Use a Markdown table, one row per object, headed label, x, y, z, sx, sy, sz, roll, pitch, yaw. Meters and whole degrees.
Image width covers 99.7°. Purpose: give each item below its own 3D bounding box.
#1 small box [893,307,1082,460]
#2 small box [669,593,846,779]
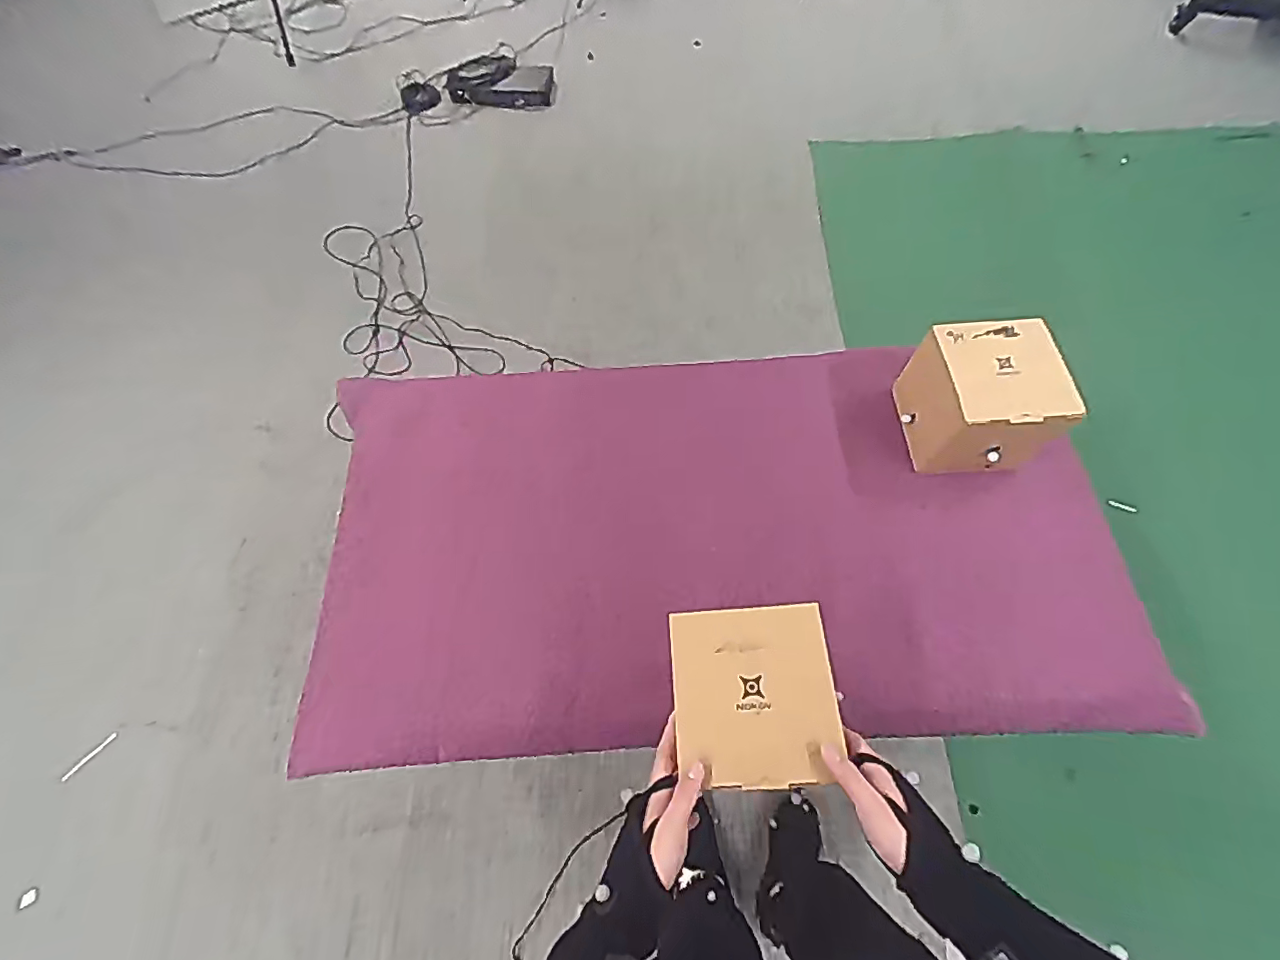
| label | x | y | z | sx | sy | sz | roll | pitch | yaw |
| --- | --- | --- | --- | --- | --- | --- | --- | --- | --- |
| small box | 0.521 | -0.140 | 0.842 | 0.168 | 0.176 | 0.179 | -4 | 66 | 2 |
| small box | 0.127 | 0.245 | 0.628 | 0.168 | 0.176 | 0.179 | -6 | 60 | 7 |
